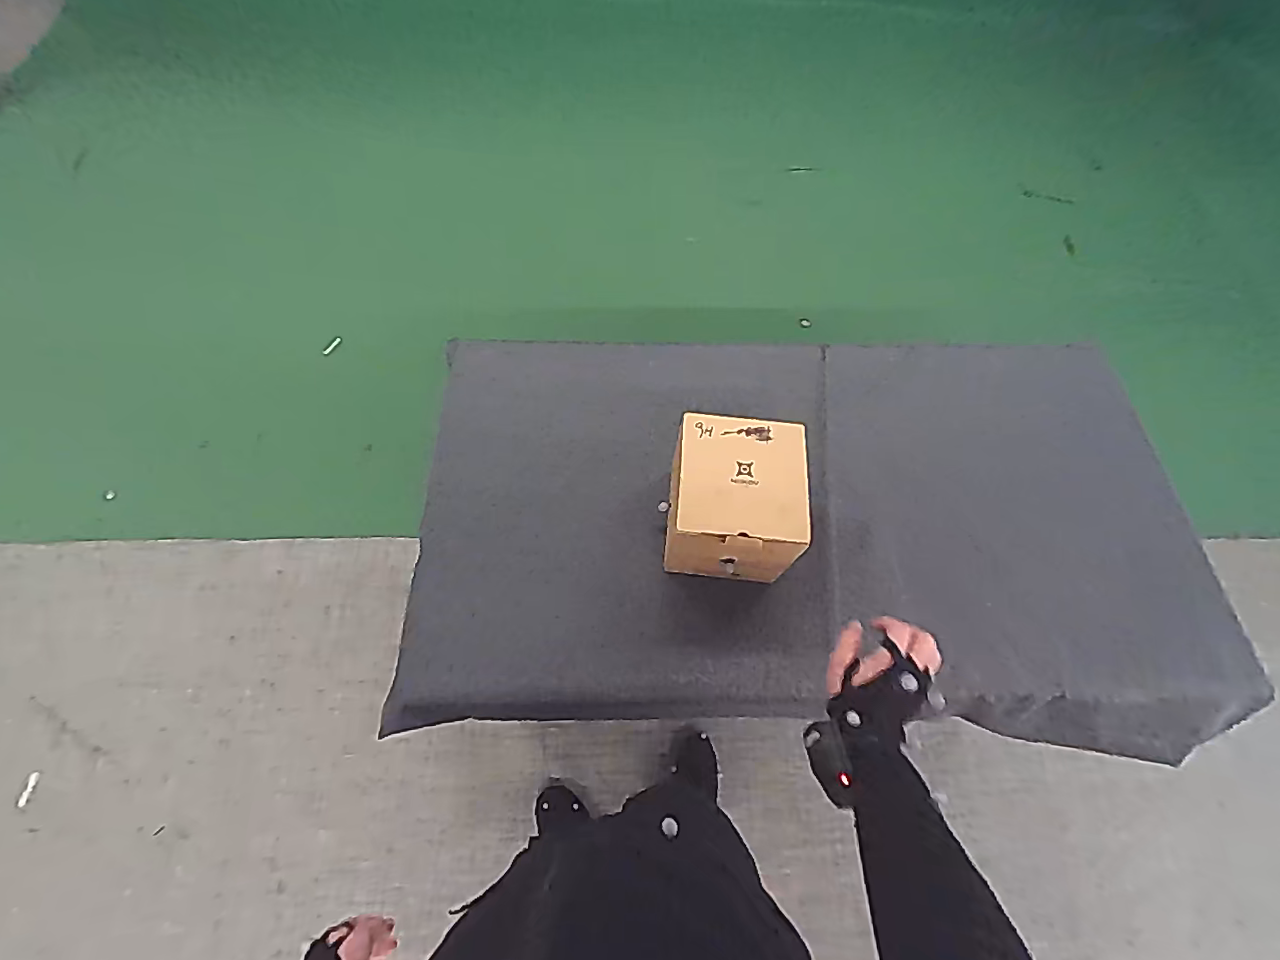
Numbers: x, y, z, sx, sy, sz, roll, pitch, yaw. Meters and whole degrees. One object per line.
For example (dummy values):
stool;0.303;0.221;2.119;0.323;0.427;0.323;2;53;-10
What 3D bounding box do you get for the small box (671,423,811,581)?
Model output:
small box;0.133;0.038;0.769;0.168;0.176;0.179;3;63;0
